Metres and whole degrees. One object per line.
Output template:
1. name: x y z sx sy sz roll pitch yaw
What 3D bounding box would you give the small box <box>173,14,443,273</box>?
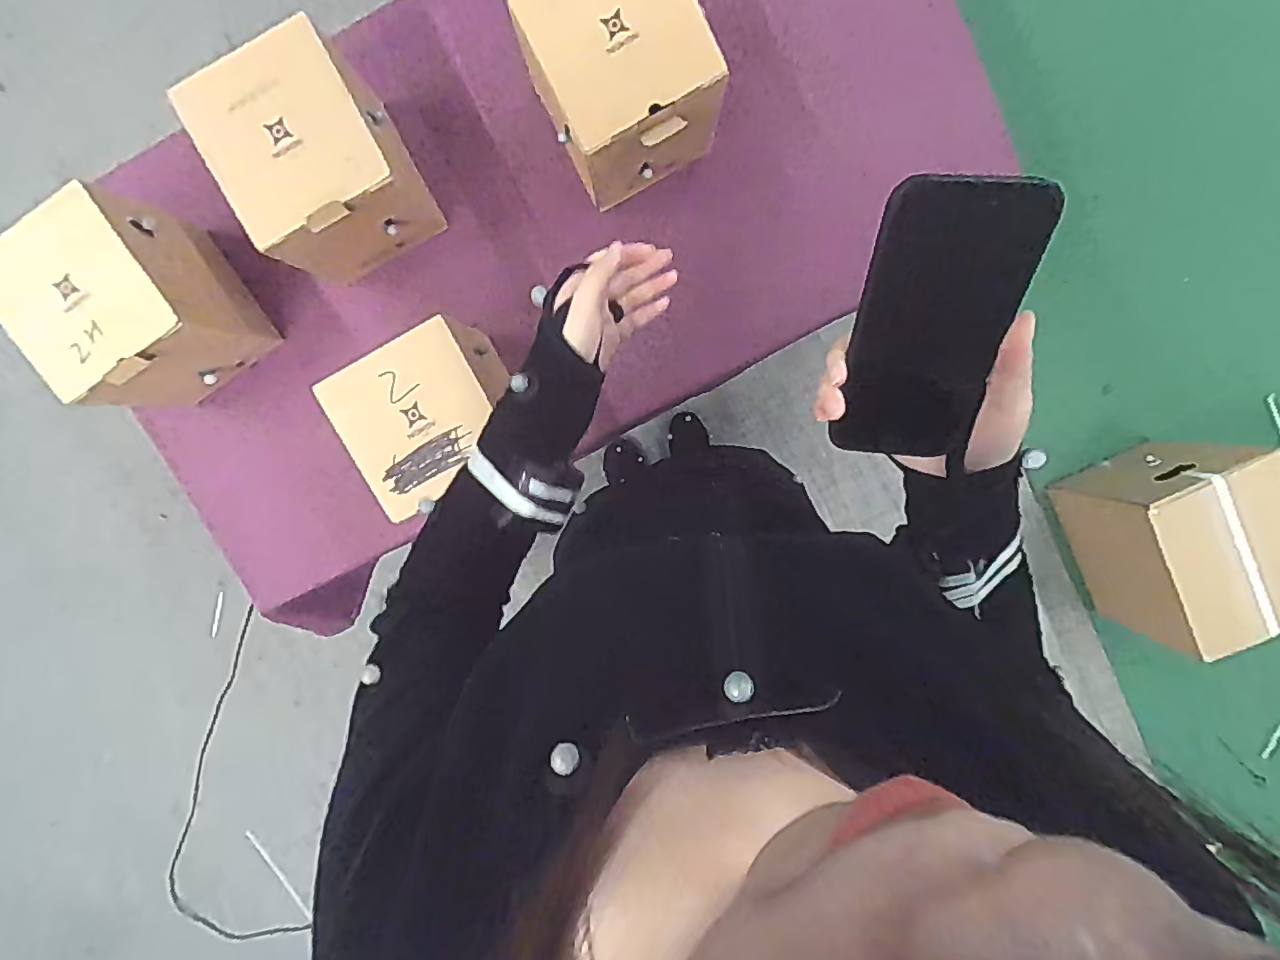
1. small box: -0.362 -0.363 0.630 0.168 0.176 0.179 -27 97 4

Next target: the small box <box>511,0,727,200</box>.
1. small box: -0.023 -0.460 0.610 0.168 0.176 0.179 -28 97 5

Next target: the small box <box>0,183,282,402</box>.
1. small box: -0.595 -0.207 0.655 0.168 0.176 0.179 -32 97 5
